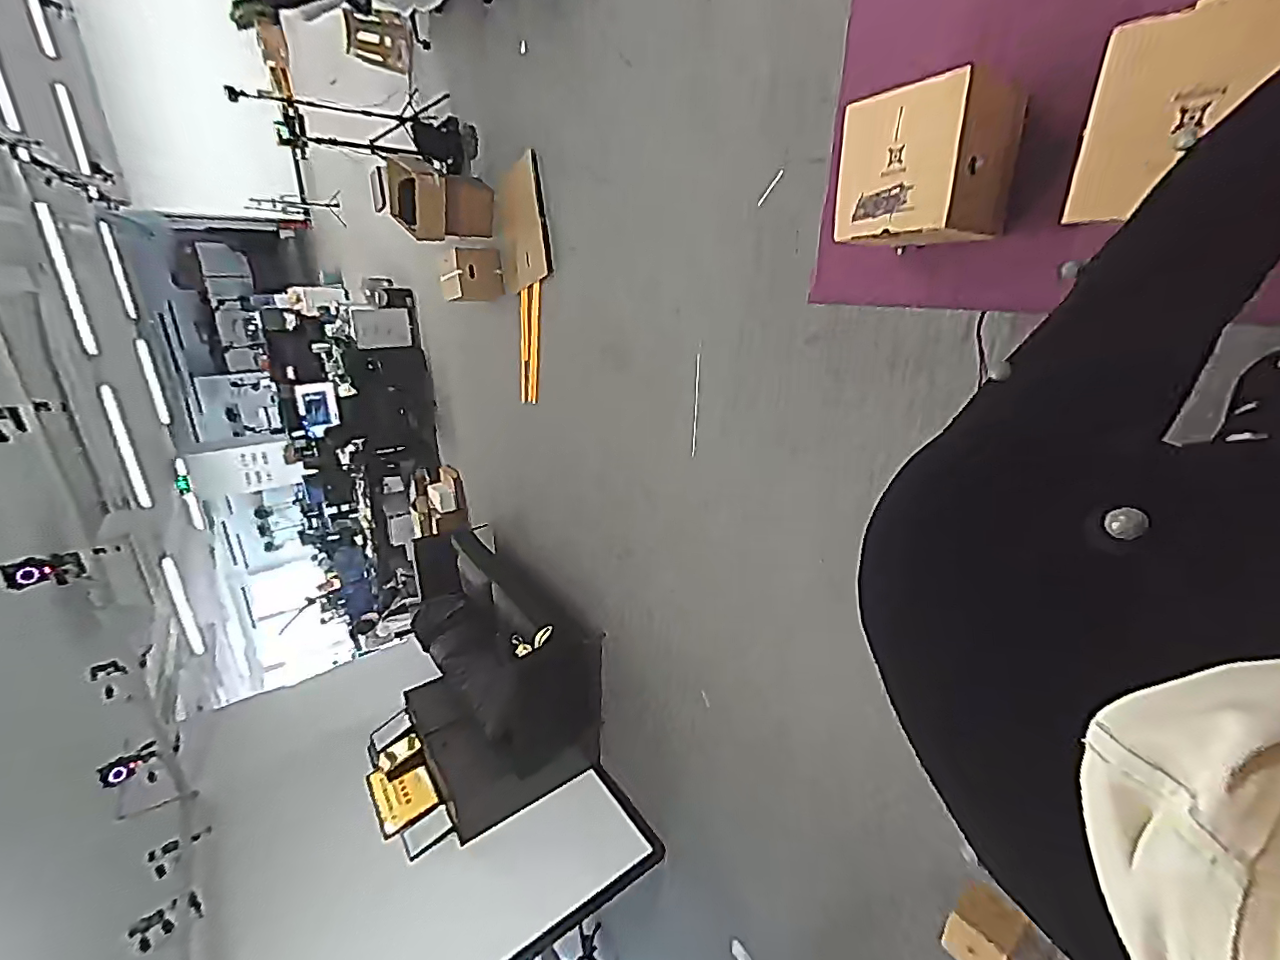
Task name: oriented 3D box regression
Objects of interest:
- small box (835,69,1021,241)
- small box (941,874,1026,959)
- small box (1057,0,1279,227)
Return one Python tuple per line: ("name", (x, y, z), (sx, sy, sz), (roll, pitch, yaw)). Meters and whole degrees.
("small box", (0.407, -0.441, 0.771), (0.168, 0.176, 0.179), (23, 118, 50))
("small box", (1.118, 1.448, 1.758), (0.168, 0.176, 0.179), (27, 123, 49))
("small box", (0.577, -0.363, 0.554), (0.168, 0.176, 0.179), (29, 125, 49))
